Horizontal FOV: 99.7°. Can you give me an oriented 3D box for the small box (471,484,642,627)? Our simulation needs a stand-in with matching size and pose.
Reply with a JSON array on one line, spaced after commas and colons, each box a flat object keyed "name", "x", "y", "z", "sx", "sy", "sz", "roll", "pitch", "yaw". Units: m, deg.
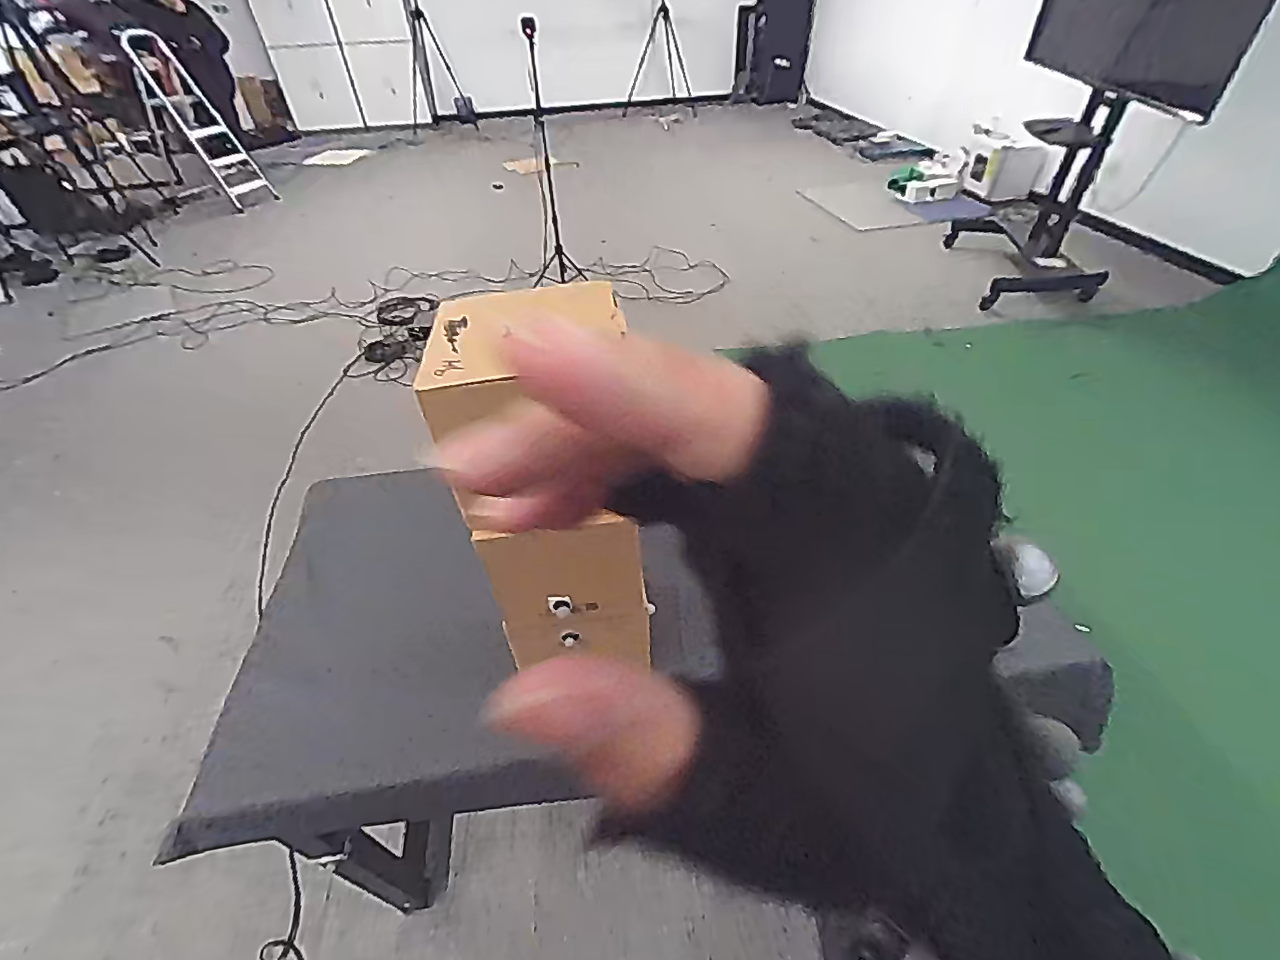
[{"name": "small box", "x": -0.092, "y": 0.049, "z": 0.651, "sx": 0.168, "sy": 0.176, "sz": 0.179, "roll": -9, "pitch": 44, "yaw": -3}]

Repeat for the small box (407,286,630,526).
[{"name": "small box", "x": -0.103, "y": -0.074, "z": 0.543, "sx": 0.179, "sy": 0.176, "sz": 0.168, "roll": -7, "pitch": 43, "yaw": -2}]

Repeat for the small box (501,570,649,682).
[{"name": "small box", "x": -0.084, "y": 0.166, "z": 0.761, "sx": 0.179, "sy": 0.176, "sz": 0.168, "roll": -6, "pitch": 43, "yaw": -3}]
